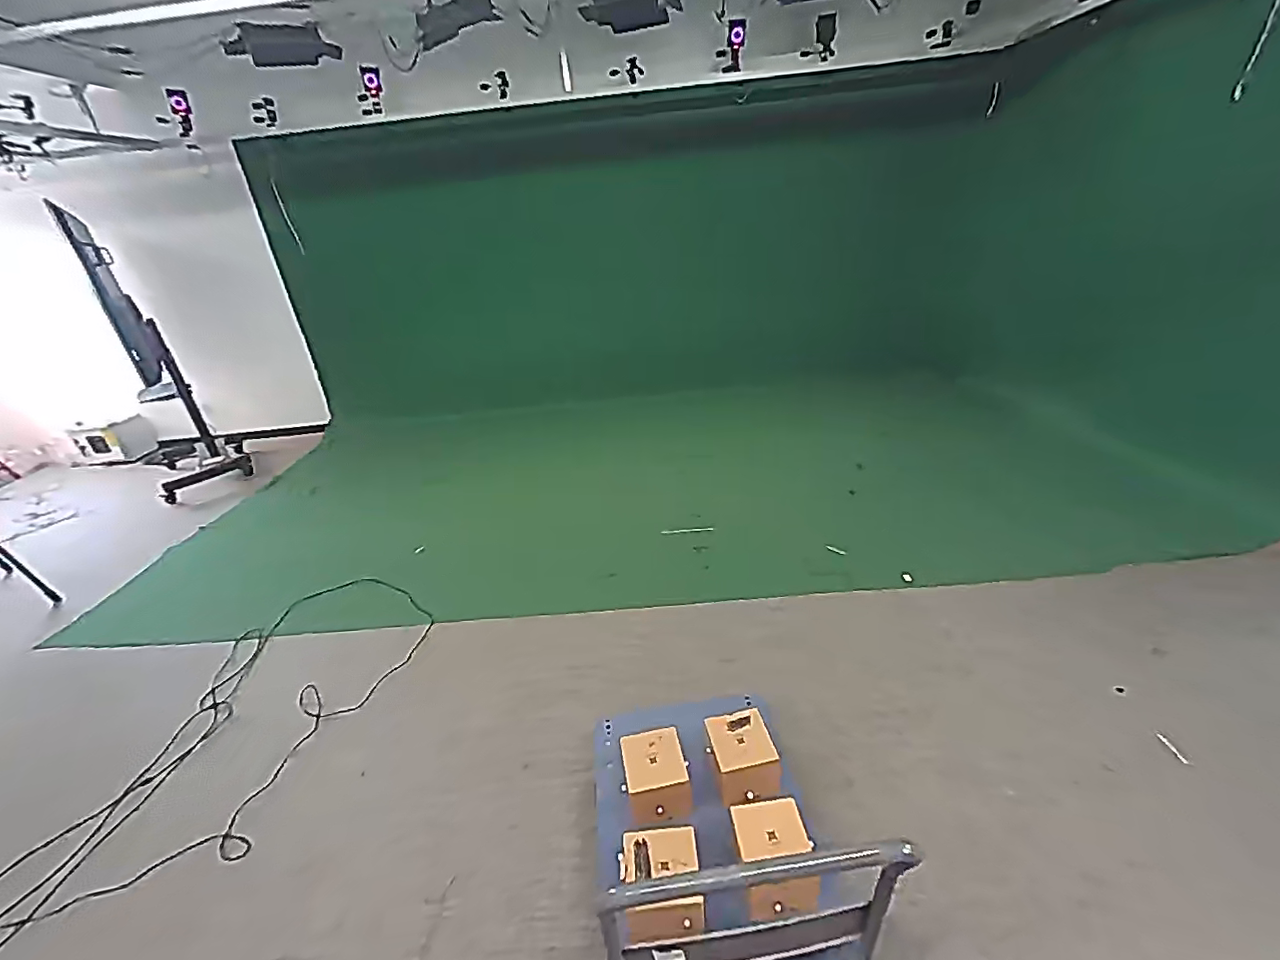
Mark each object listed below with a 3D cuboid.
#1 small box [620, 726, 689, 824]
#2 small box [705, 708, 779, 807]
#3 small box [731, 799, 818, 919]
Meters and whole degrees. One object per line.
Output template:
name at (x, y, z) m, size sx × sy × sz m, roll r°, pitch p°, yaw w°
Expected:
small box at (0.041, 0.839, 1.530) m, size 0.168 × 0.176 × 0.179 m, roll -8°, pitch 27°, yaw -7°
small box at (0.288, 0.799, 1.560) m, size 0.168 × 0.176 × 0.179 m, roll -10°, pitch 29°, yaw -6°
small box at (0.319, 0.922, 1.321) m, size 0.168 × 0.176 × 0.179 m, roll -7°, pitch 28°, yaw -3°
